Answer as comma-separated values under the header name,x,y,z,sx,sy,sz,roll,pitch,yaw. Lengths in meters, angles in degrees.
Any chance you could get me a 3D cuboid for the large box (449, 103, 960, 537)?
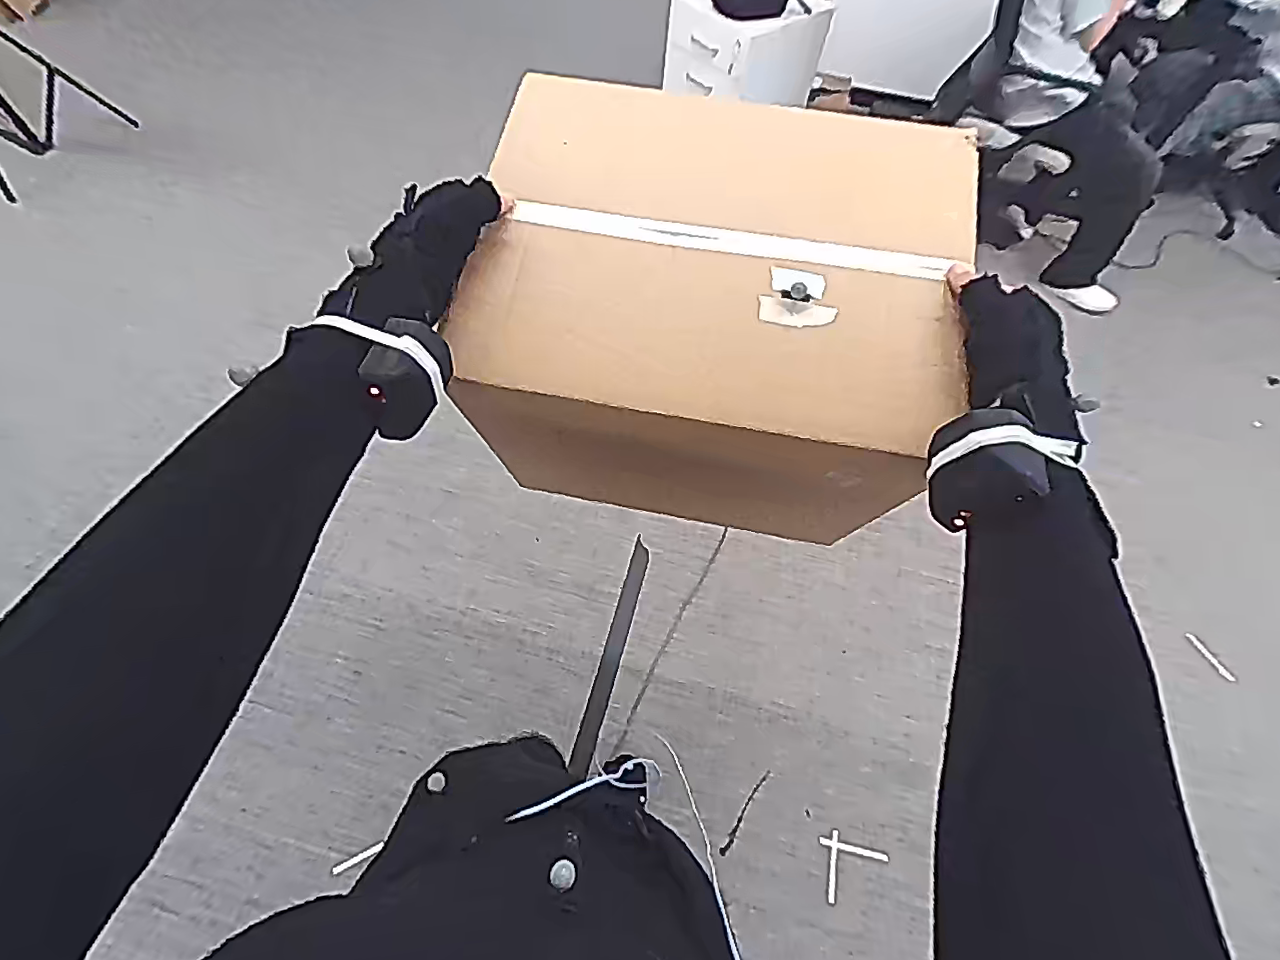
name,x,y,z,sx,sy,sz,roll,pitch,yaw
large box,0.067,-0.143,0.602,0.408,0.320,0.320,10,74,4
